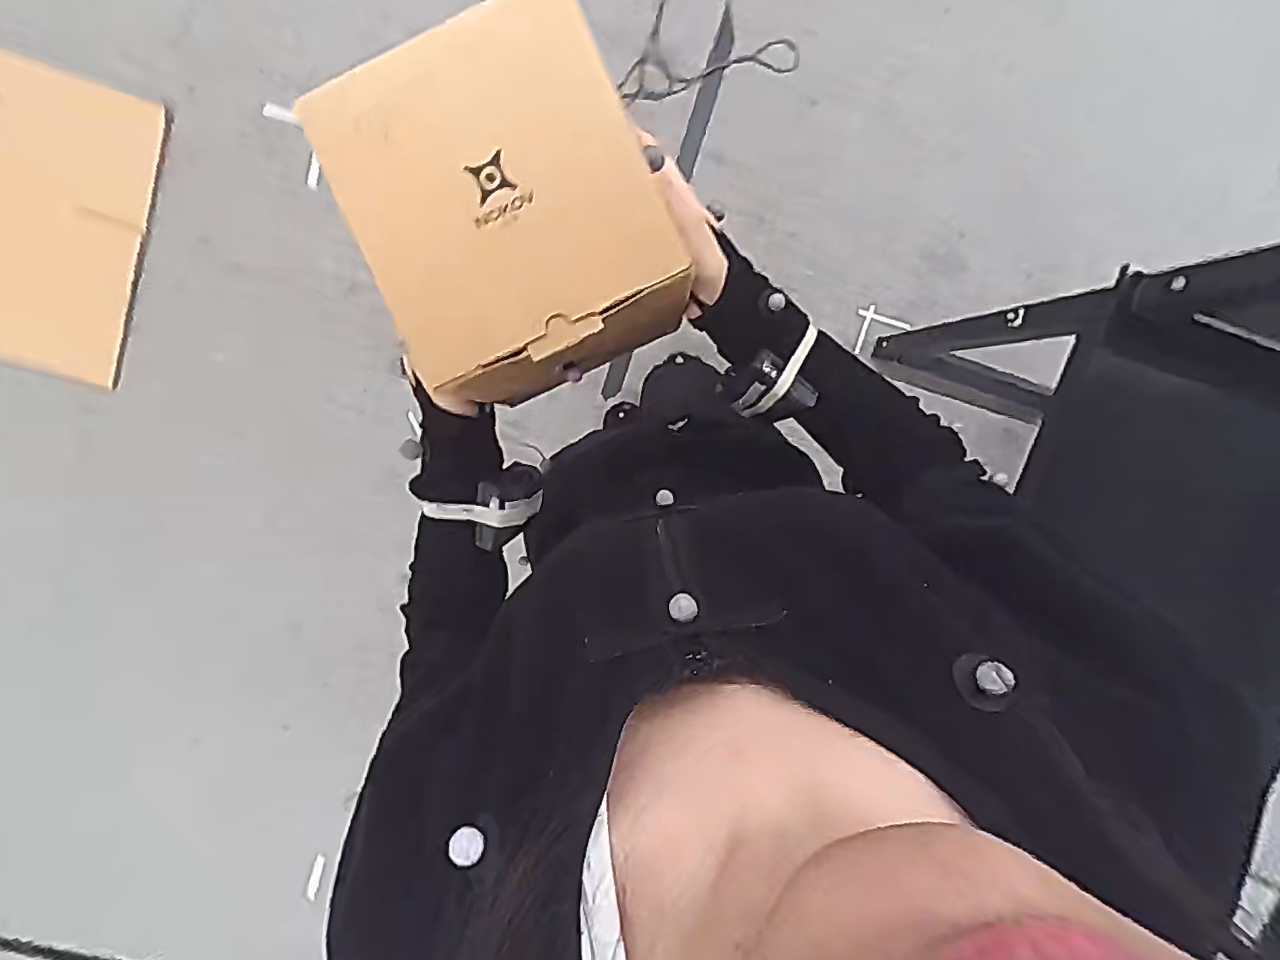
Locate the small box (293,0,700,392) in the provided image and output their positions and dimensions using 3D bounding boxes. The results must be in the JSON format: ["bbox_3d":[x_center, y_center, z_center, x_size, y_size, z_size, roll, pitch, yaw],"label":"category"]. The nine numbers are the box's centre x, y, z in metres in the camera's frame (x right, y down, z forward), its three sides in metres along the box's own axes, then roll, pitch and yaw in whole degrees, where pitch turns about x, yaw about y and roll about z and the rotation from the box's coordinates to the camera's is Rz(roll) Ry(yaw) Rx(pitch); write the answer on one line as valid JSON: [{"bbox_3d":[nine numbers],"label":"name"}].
[{"bbox_3d":[-0.076,-0.174,0.367,0.168,0.176,0.179,-25,95,3],"label":"small box"}]
